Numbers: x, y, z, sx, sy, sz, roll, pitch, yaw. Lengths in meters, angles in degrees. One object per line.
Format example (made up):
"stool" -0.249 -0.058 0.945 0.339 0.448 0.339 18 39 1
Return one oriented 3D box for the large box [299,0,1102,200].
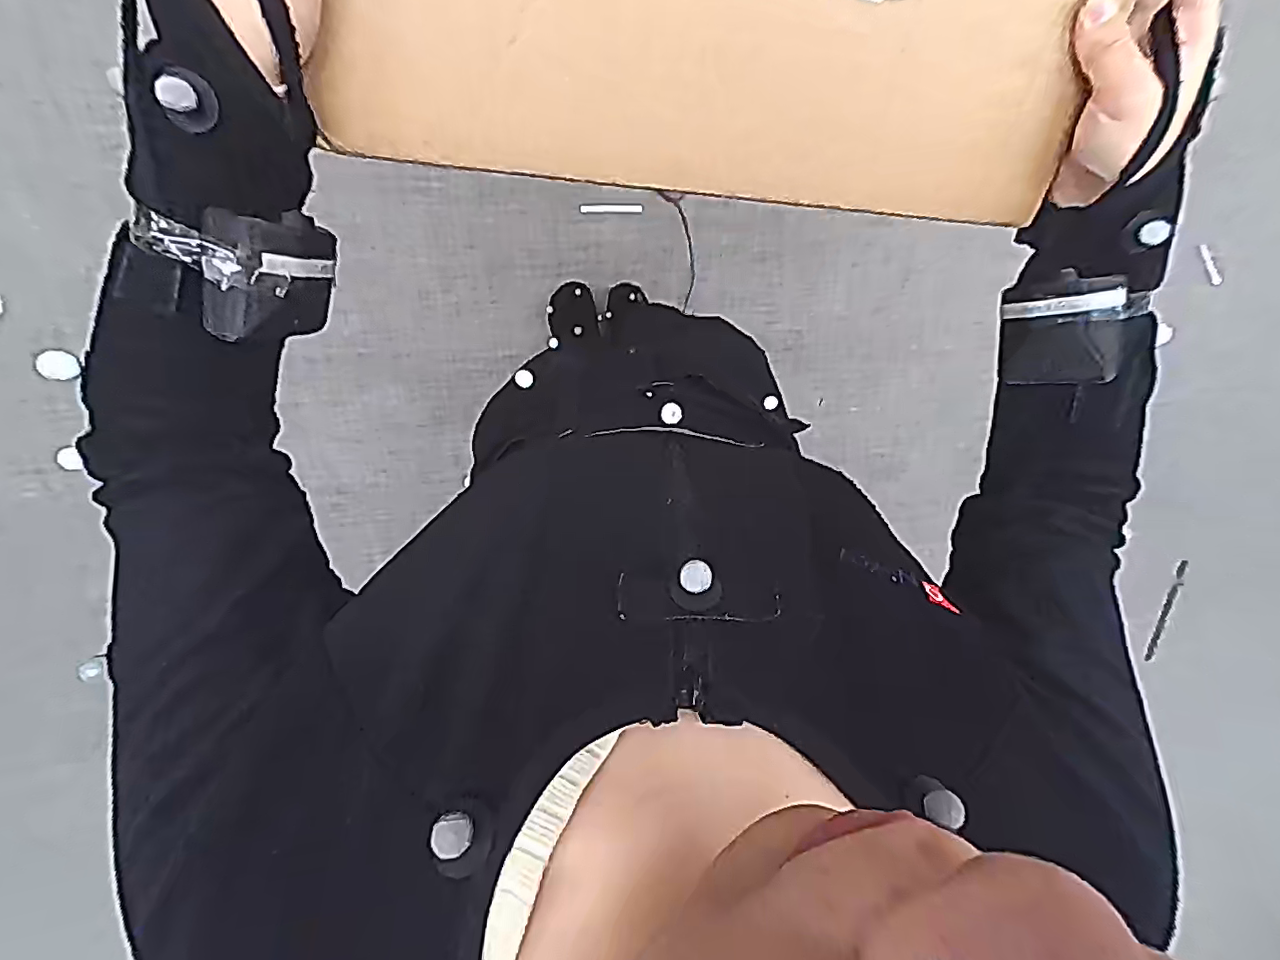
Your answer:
"large box" 0.030 -0.382 0.342 0.408 0.320 0.320 1 125 -9
